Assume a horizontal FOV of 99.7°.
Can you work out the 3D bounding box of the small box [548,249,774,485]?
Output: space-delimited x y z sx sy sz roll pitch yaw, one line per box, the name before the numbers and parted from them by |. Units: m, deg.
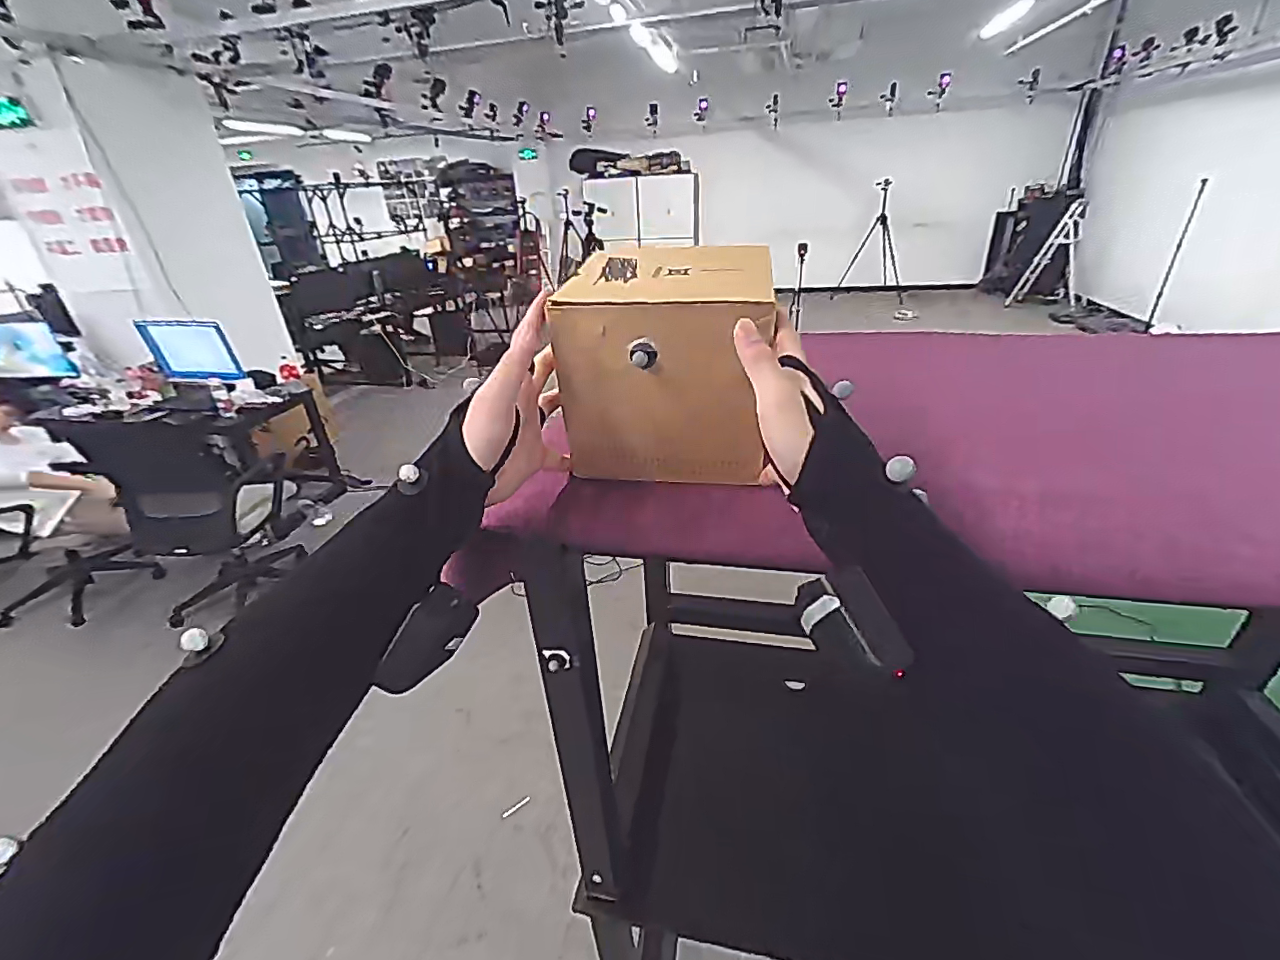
small box | 0.032 -0.109 0.511 0.179 0.176 0.168 3 36 10
